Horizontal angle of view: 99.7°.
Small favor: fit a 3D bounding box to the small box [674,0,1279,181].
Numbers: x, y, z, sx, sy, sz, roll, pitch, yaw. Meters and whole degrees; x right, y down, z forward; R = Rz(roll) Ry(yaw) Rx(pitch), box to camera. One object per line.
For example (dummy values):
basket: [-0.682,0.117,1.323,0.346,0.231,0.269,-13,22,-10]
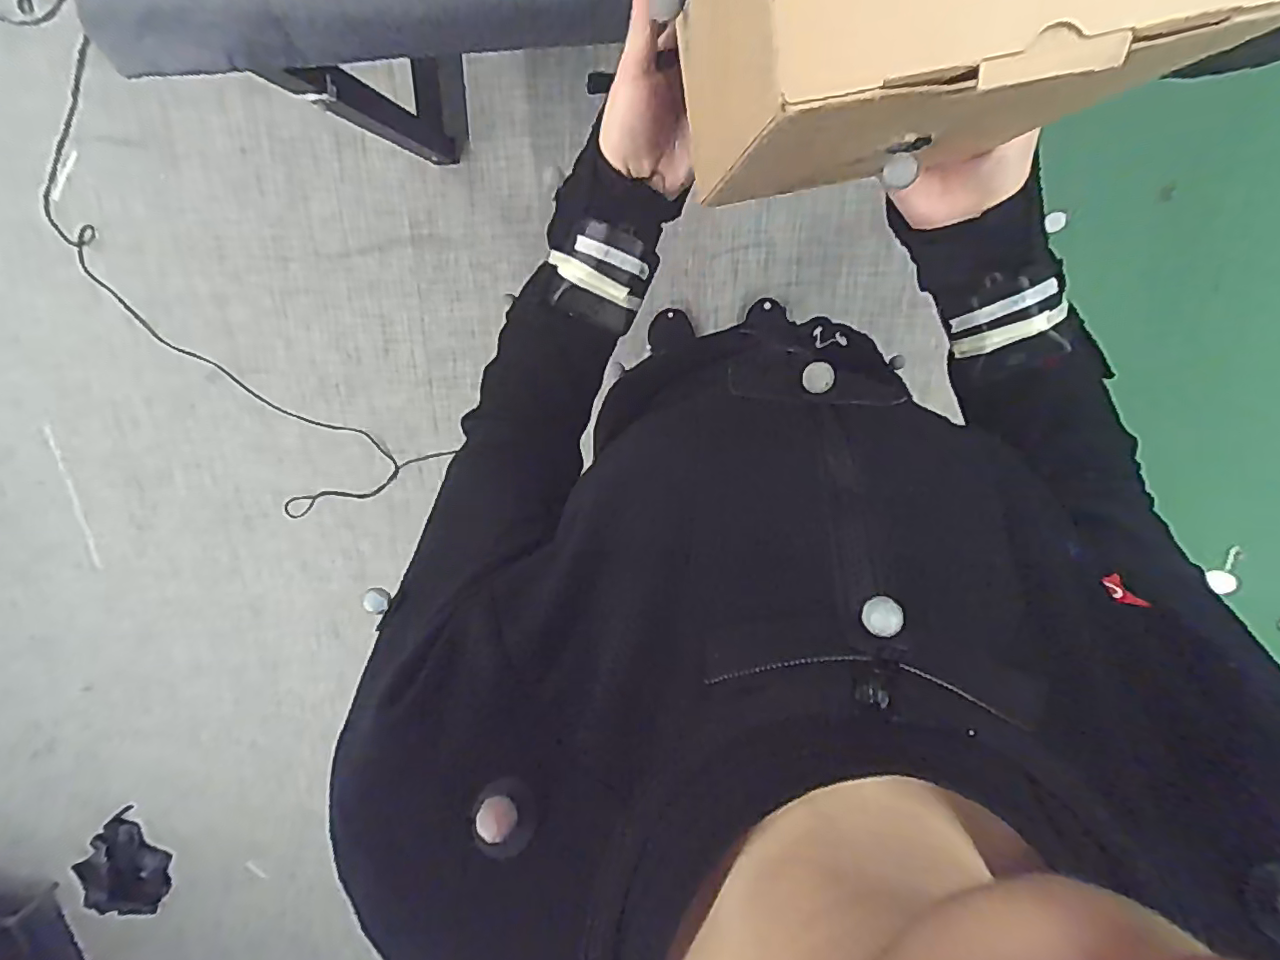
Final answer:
small box: [0.103,-0.232,0.209,0.168,0.176,0.179,-11,109,1]
